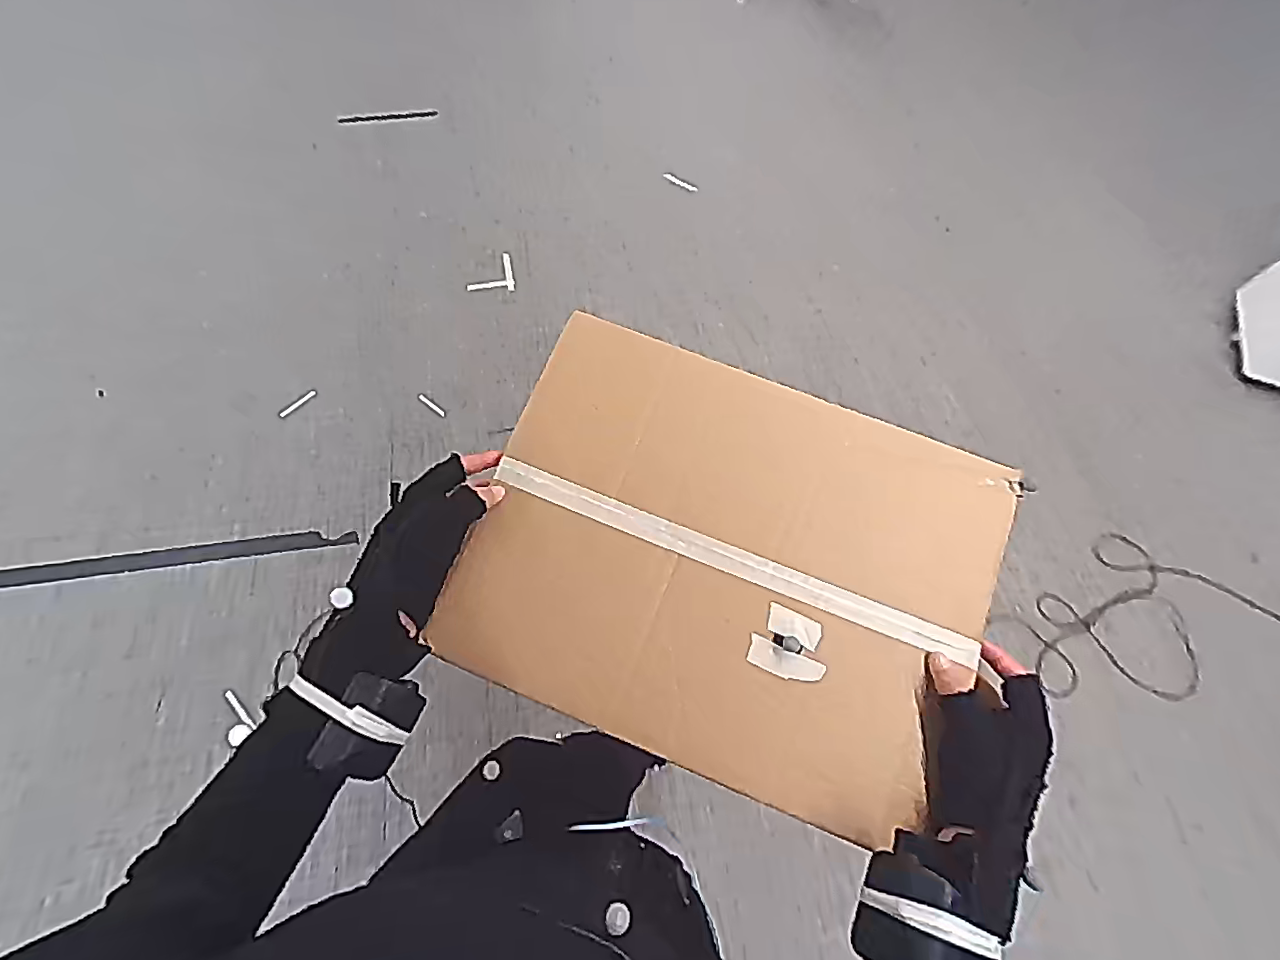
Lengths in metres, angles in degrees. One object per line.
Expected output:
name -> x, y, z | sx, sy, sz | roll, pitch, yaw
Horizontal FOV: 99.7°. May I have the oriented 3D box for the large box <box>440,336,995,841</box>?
large box -> 0.072, 0.102, 0.601 | 0.408, 0.320, 0.320 | 21, 79, 5
